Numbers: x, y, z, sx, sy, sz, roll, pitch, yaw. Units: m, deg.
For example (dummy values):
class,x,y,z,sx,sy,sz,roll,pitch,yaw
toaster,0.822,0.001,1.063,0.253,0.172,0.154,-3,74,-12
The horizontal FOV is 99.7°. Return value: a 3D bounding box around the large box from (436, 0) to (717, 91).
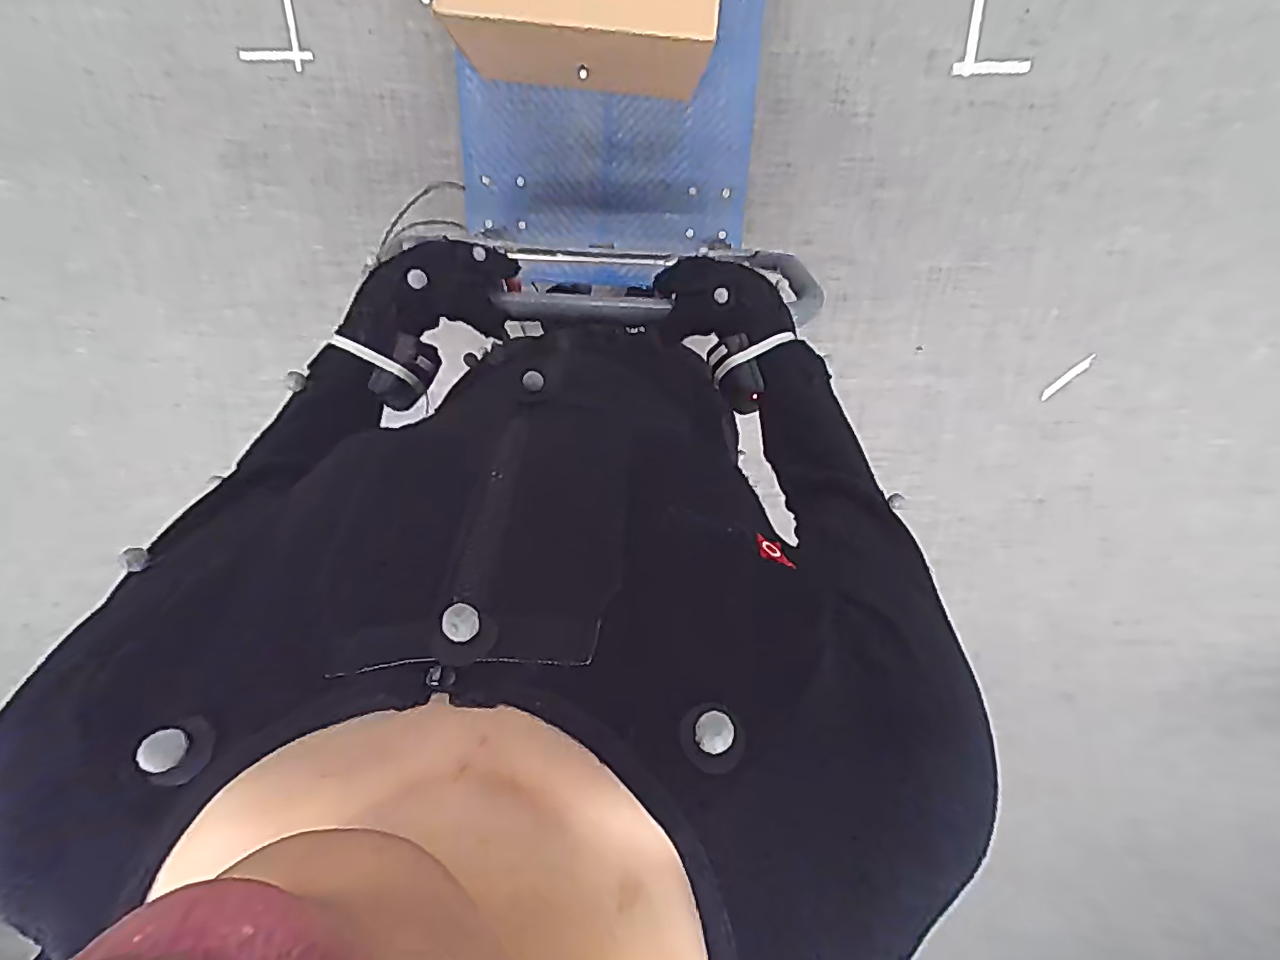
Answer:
class,x,y,z,sx,sy,sz,roll,pitch,yaw
large box,-0.083,-0.847,0.855,0.408,0.320,0.320,3,112,-2
